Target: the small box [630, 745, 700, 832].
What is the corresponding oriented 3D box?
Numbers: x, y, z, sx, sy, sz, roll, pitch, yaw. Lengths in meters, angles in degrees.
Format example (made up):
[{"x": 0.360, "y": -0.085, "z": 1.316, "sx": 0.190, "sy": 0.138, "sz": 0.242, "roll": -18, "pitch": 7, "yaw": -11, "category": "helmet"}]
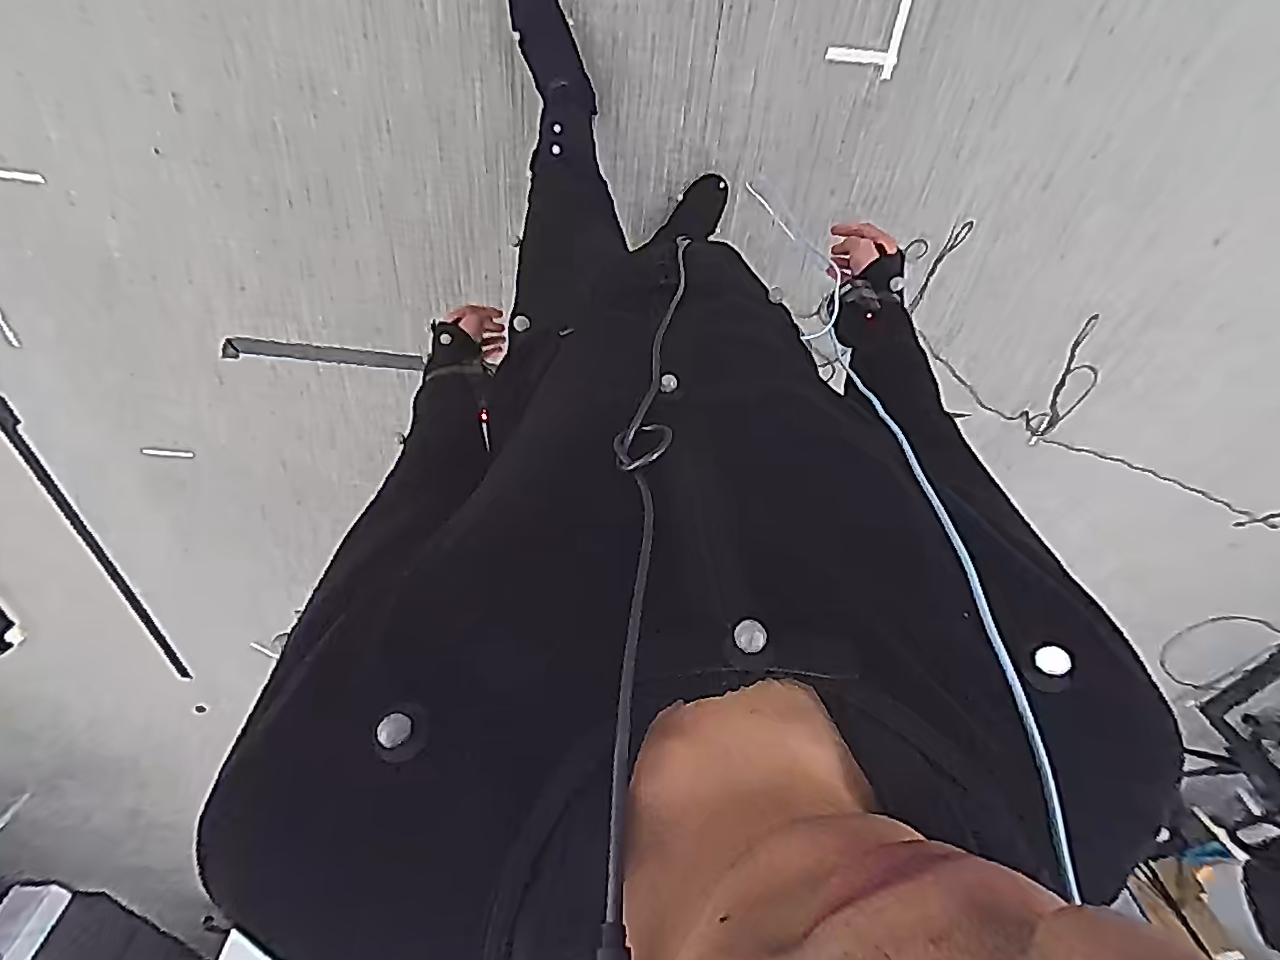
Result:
[{"x": 0.063, "y": 0.878, "z": 1.541, "sx": 0.168, "sy": 0.176, "sz": 0.179, "roll": 7, "pitch": 127, "yaw": -7, "category": "small box"}]
